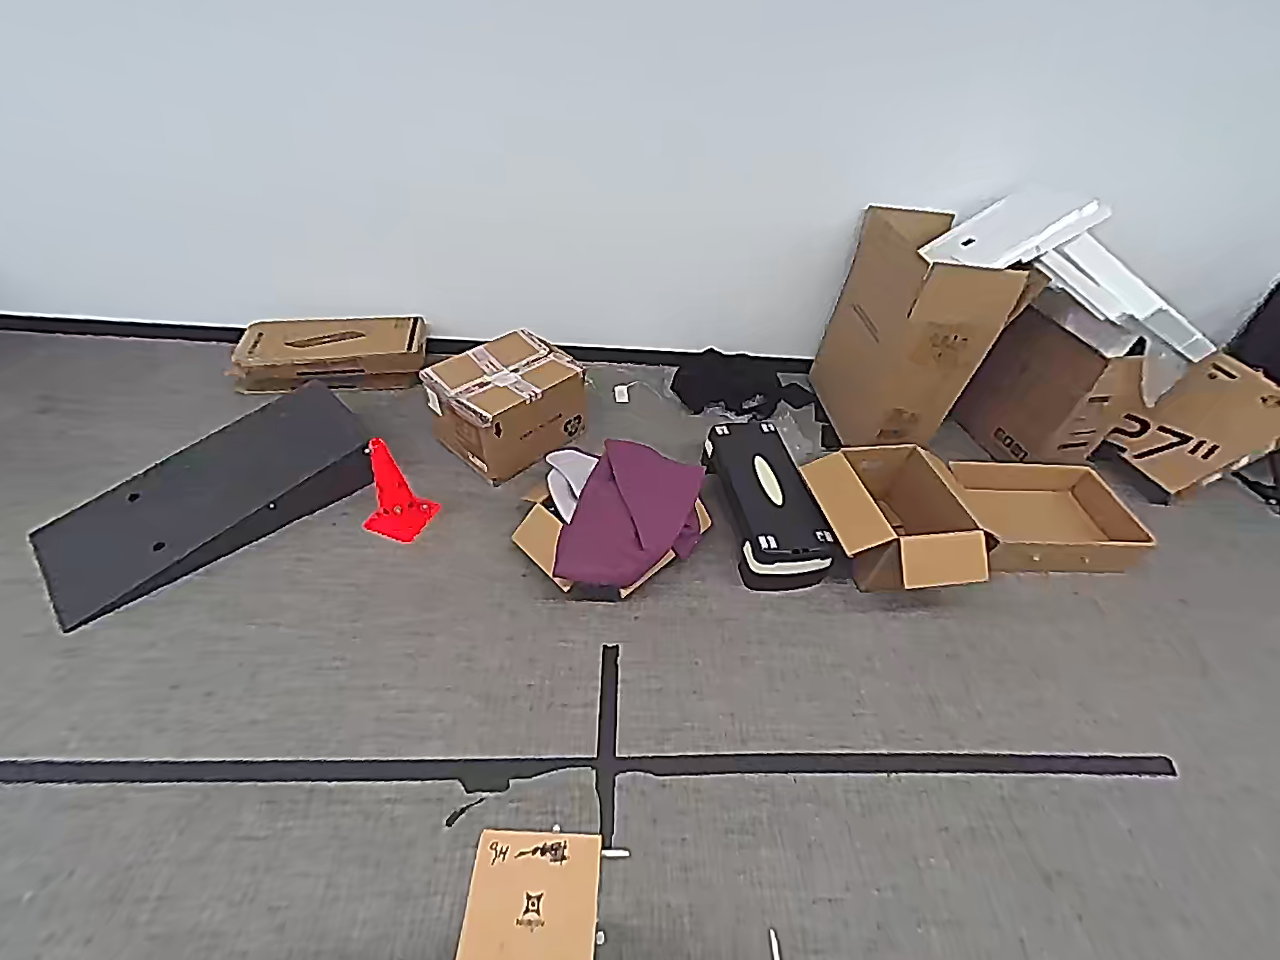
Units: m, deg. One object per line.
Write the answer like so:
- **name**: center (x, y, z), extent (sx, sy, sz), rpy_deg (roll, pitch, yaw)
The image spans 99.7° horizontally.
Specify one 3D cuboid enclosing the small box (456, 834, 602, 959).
- **small box**: center (-0.138, 0.596, 0.721), extent (0.168, 0.176, 0.179), rpy_deg (4, 45, -2)
